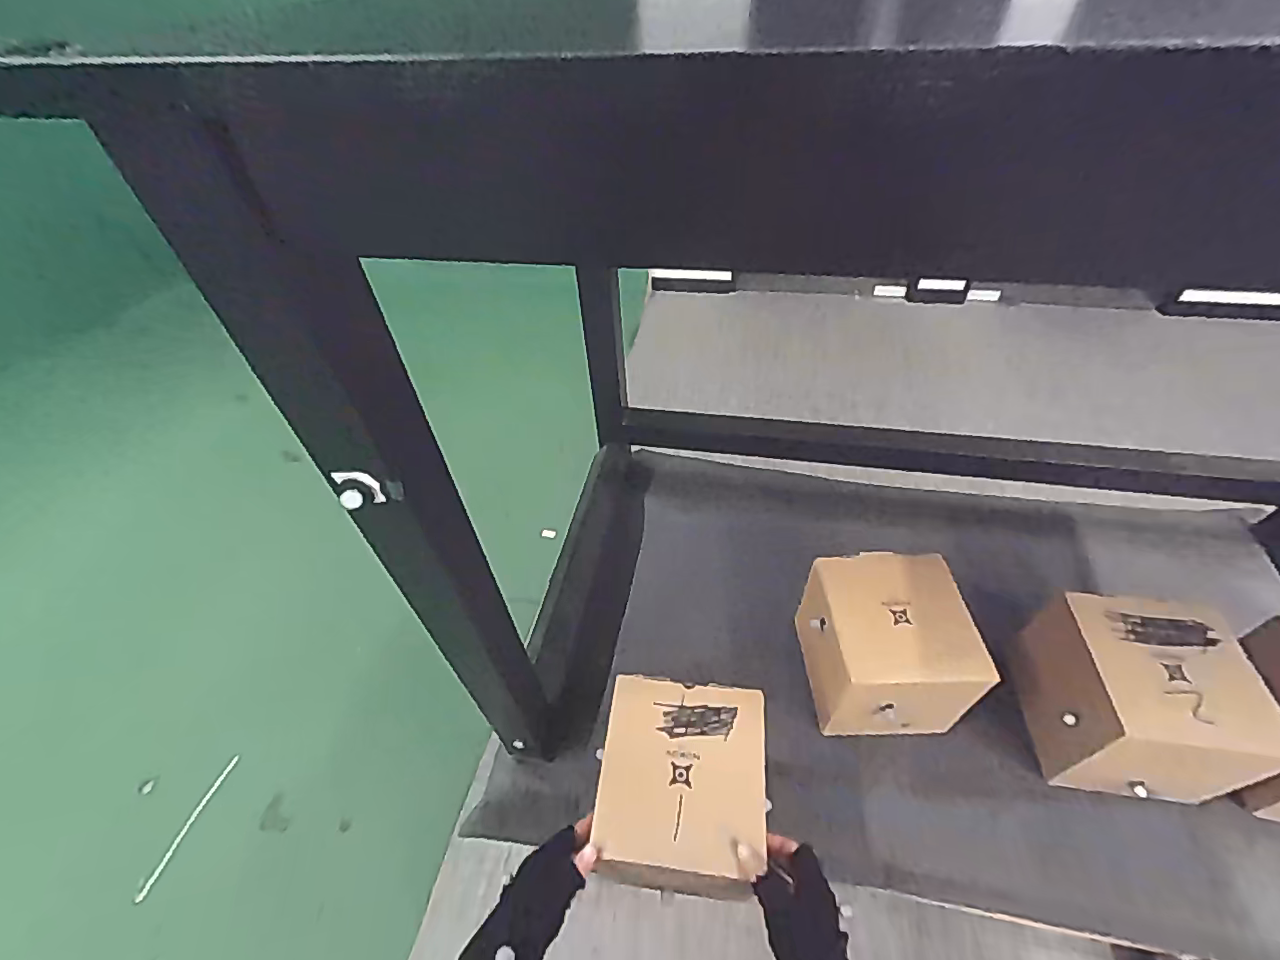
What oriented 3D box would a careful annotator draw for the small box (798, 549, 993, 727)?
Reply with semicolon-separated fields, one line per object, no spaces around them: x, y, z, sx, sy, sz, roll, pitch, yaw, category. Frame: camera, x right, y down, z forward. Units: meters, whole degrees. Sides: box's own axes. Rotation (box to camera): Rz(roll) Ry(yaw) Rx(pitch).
0.317;0.213;0.715;0.168;0.176;0.179;-2;46;2;small box

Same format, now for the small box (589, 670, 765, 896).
0.046;0.340;0.608;0.168;0.176;0.179;4;48;7;small box
